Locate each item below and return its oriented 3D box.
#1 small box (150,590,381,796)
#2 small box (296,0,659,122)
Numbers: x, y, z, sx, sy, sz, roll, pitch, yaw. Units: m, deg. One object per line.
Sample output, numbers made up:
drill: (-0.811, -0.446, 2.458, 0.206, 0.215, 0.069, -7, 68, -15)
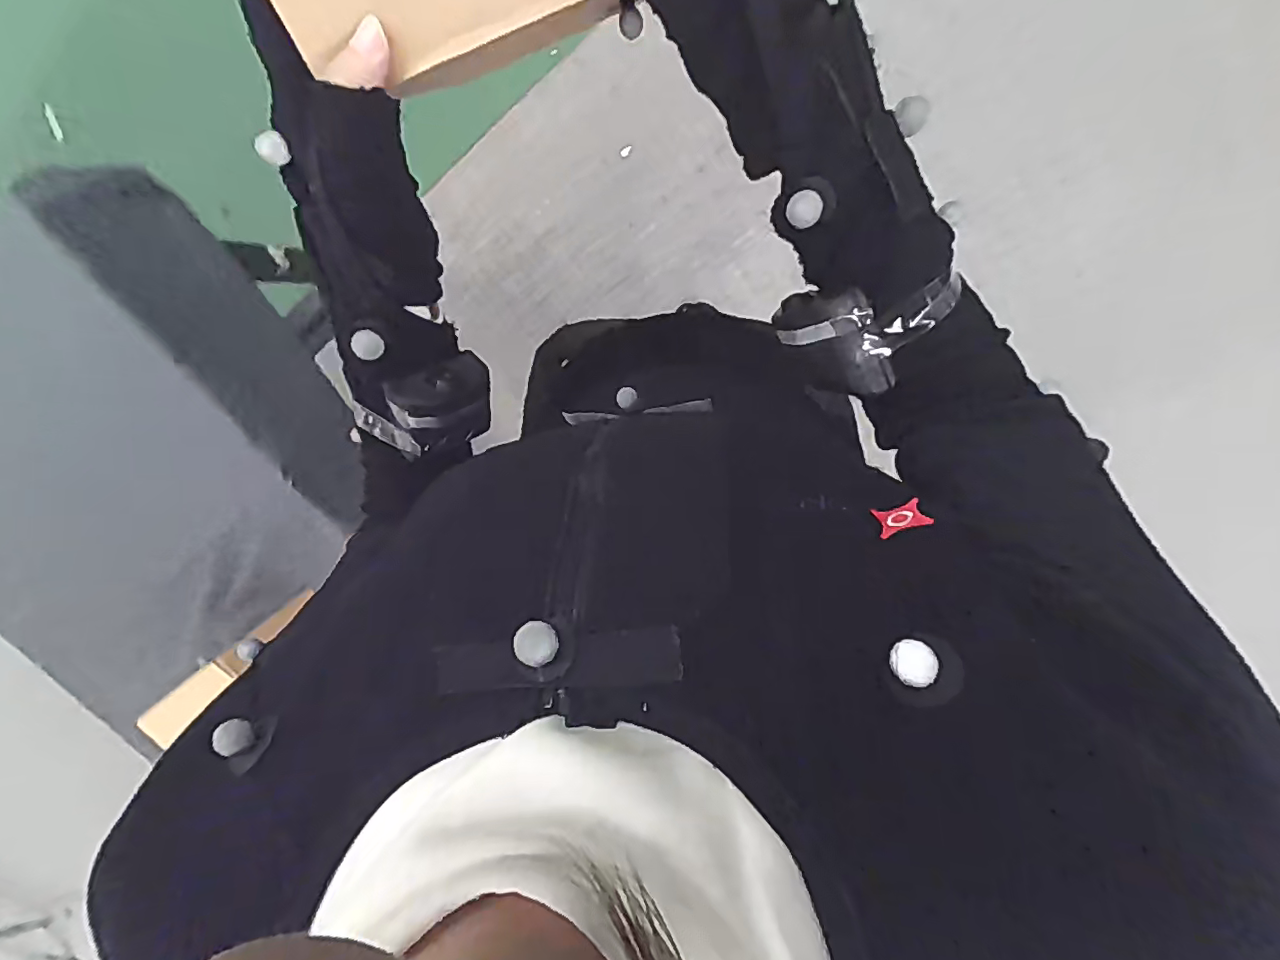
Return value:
small box: (-0.497, 0.285, 0.752, 0.179, 0.176, 0.168, -35, 102, 17)
small box: (-0.064, -0.286, 0.227, 0.179, 0.176, 0.168, -15, 126, 16)
